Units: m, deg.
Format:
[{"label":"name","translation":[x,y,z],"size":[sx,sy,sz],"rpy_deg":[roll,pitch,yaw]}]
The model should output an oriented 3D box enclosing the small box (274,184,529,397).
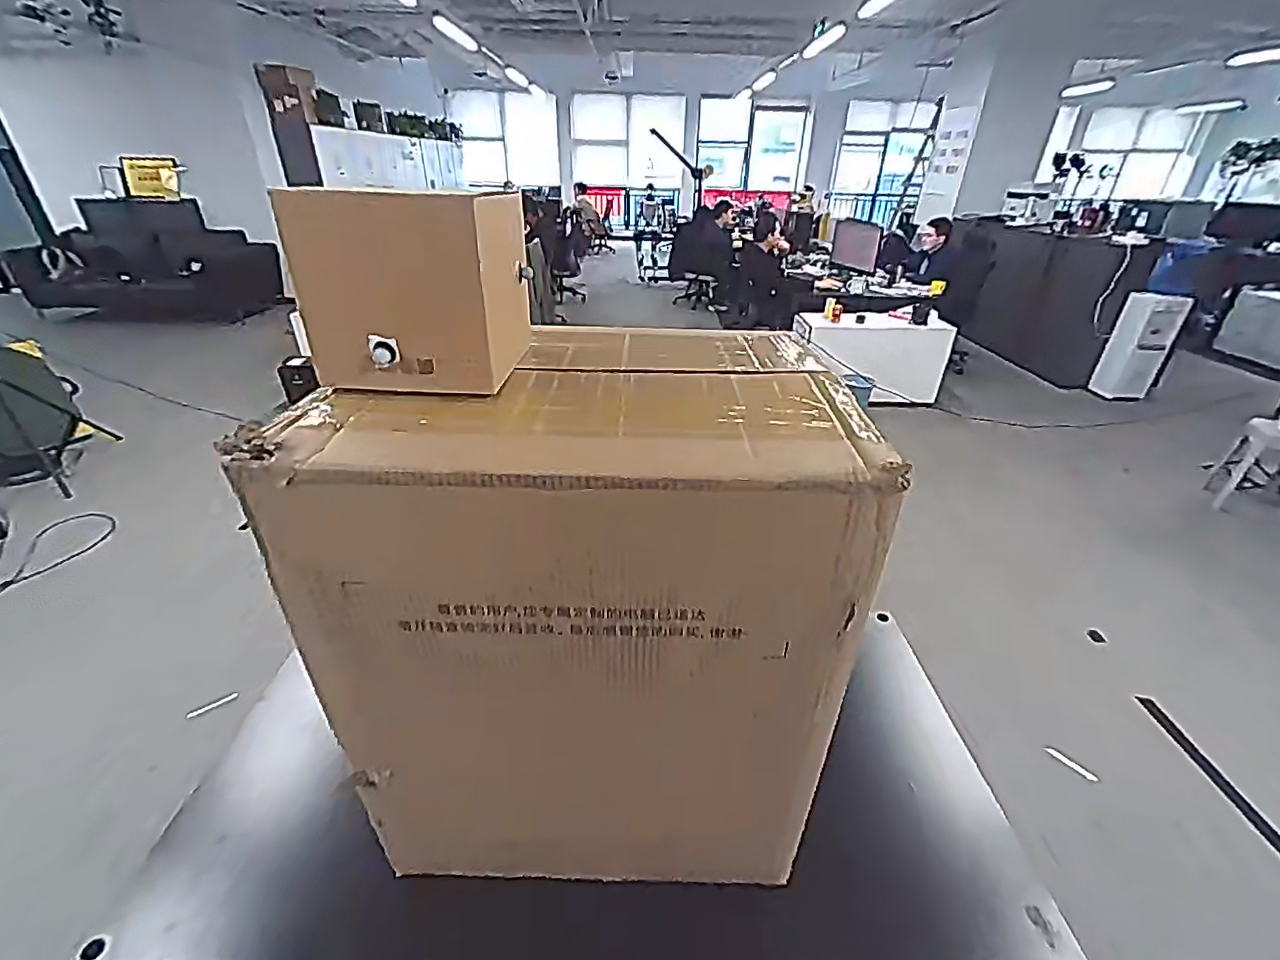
[{"label":"small box","translation":[-0.209,-0.191,0.534],"size":[0.168,0.176,0.179],"rpy_deg":[1,30,0]}]
